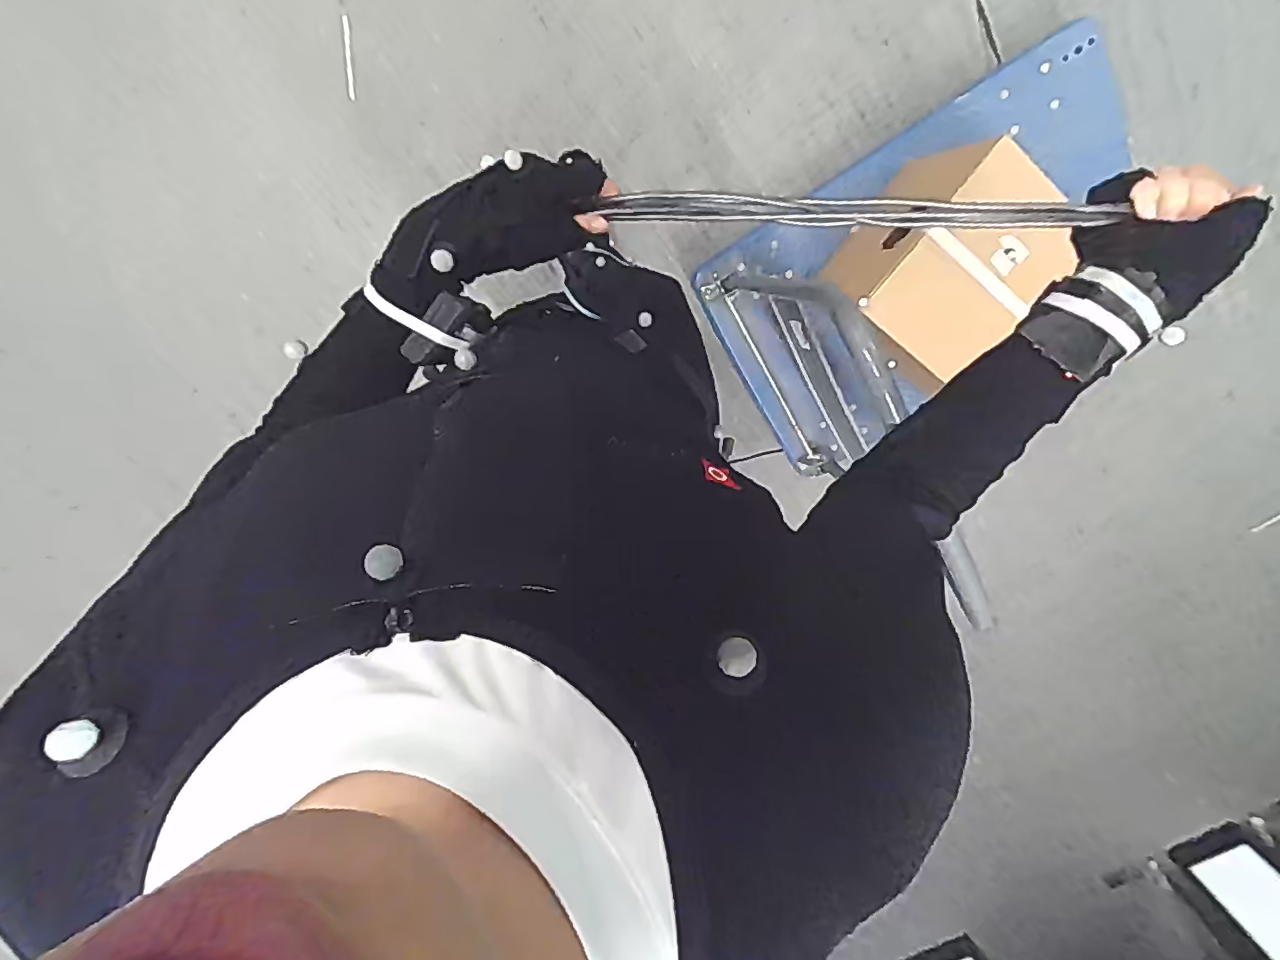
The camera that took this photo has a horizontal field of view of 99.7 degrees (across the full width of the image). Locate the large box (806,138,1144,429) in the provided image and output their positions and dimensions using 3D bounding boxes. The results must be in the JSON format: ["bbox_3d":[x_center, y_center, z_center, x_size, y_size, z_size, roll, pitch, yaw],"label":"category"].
[{"bbox_3d":[0.610,-0.369,1.054,0.408,0.320,0.320,34,109,-15],"label":"large box"}]
